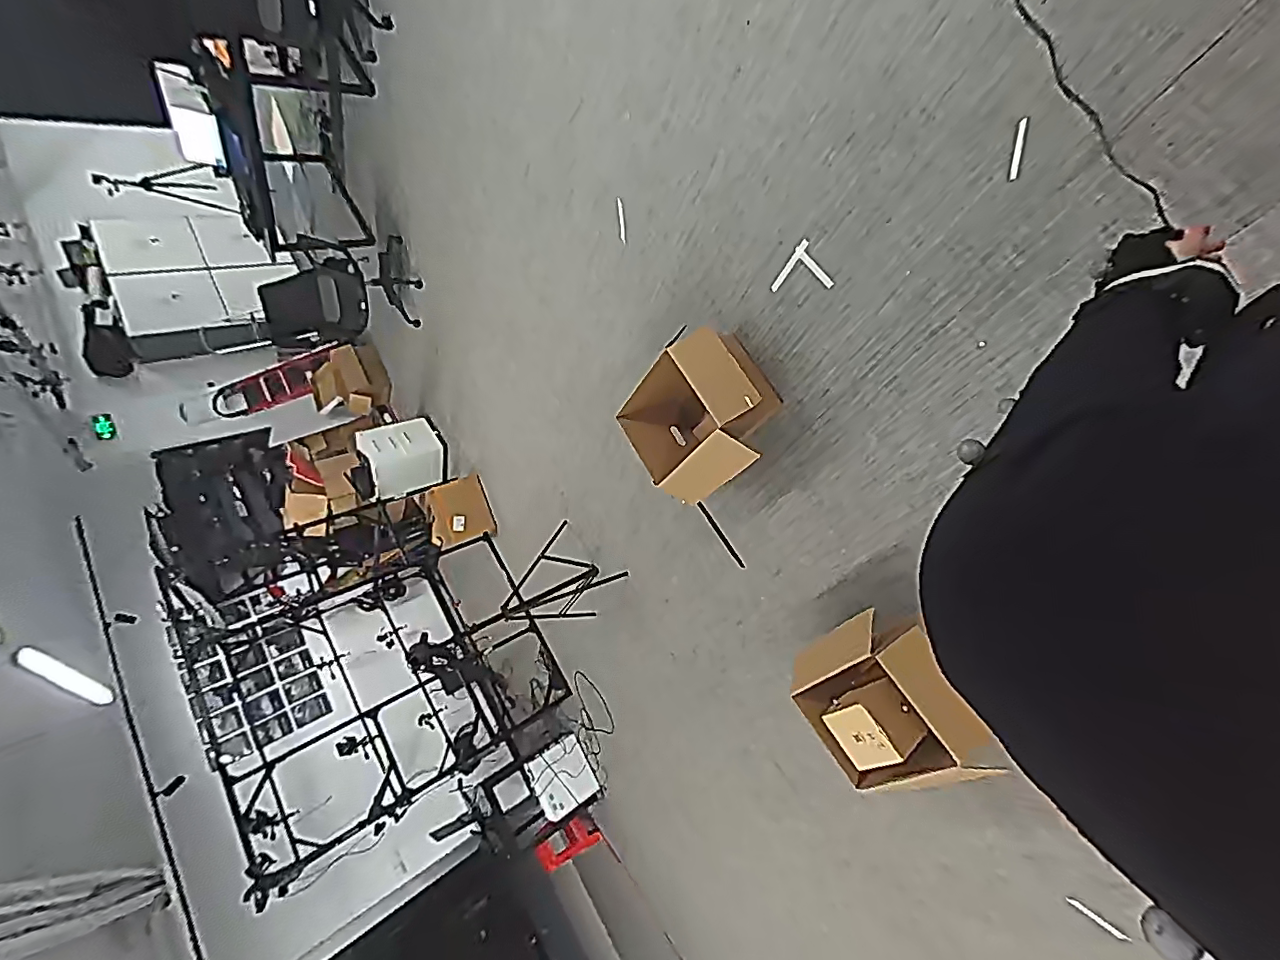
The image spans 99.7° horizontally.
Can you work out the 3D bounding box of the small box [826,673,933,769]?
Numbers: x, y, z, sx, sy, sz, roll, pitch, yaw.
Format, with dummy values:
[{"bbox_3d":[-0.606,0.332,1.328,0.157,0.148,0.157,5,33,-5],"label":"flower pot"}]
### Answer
[{"bbox_3d":[0.662,0.664,1.493,0.168,0.176,0.179,55,143,18],"label":"small box"}]
